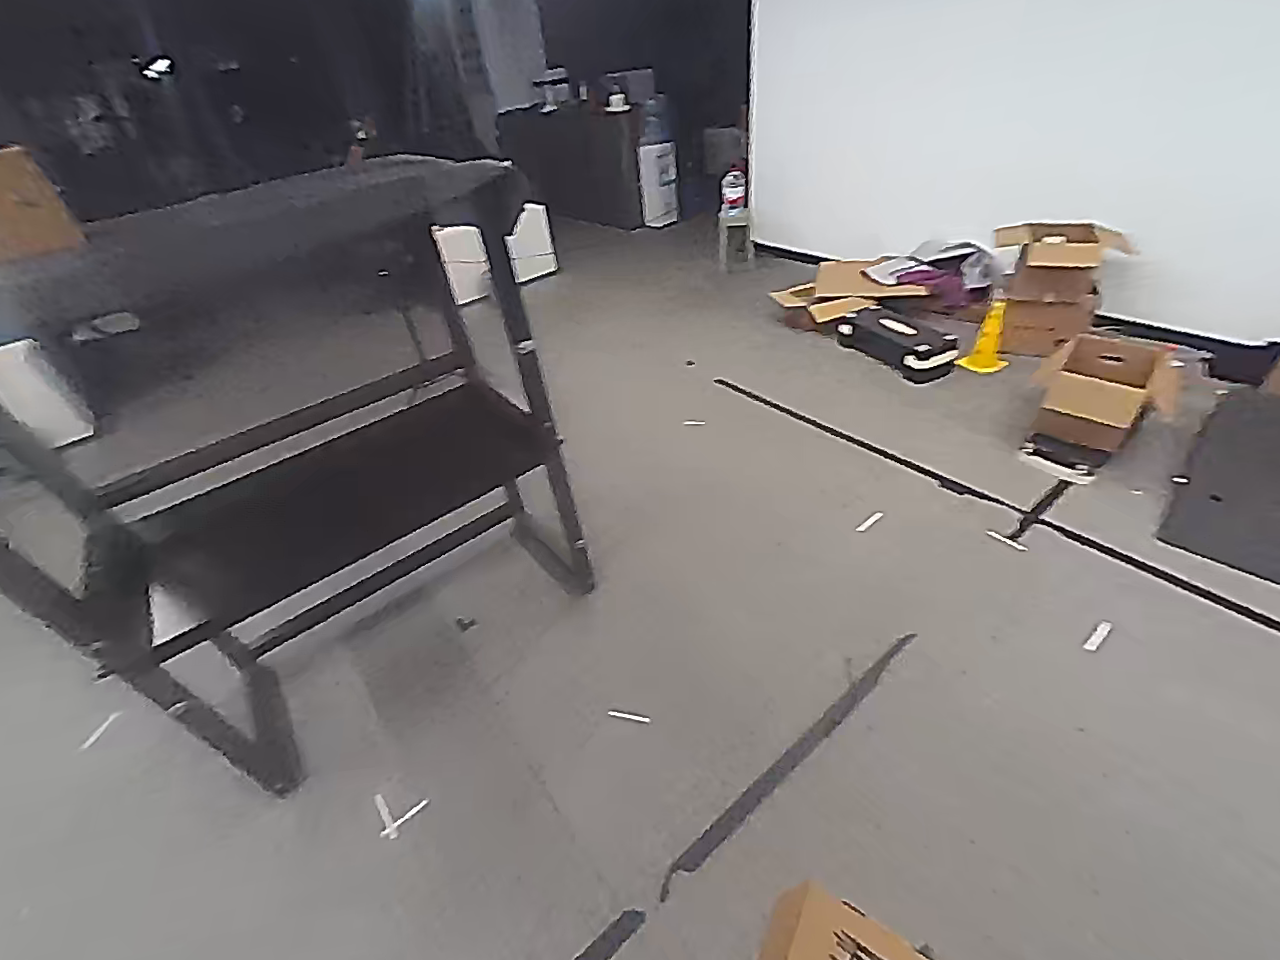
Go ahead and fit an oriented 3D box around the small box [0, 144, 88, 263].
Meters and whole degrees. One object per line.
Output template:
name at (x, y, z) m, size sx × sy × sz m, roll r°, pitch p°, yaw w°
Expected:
small box at (-1.232, -0.538, 1.052) m, size 0.179 × 0.176 × 0.168 m, roll -32°, pitch 45°, yaw -28°
